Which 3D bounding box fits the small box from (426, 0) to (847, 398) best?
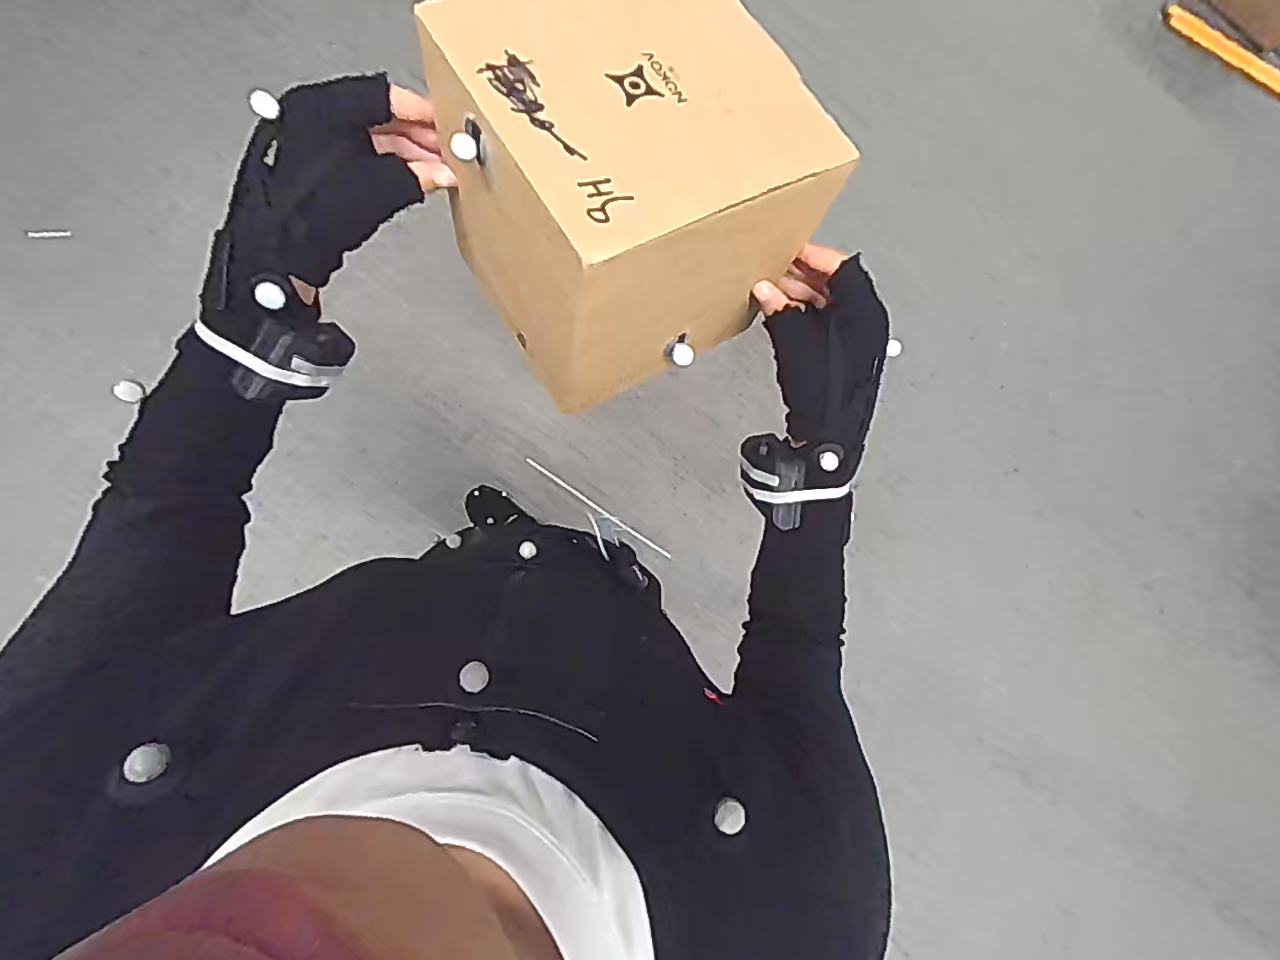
[{"bbox_3d":[-0.012,-0.184,0.358,0.179,0.176,0.168,-30,80,-19],"label":"small box"}]
